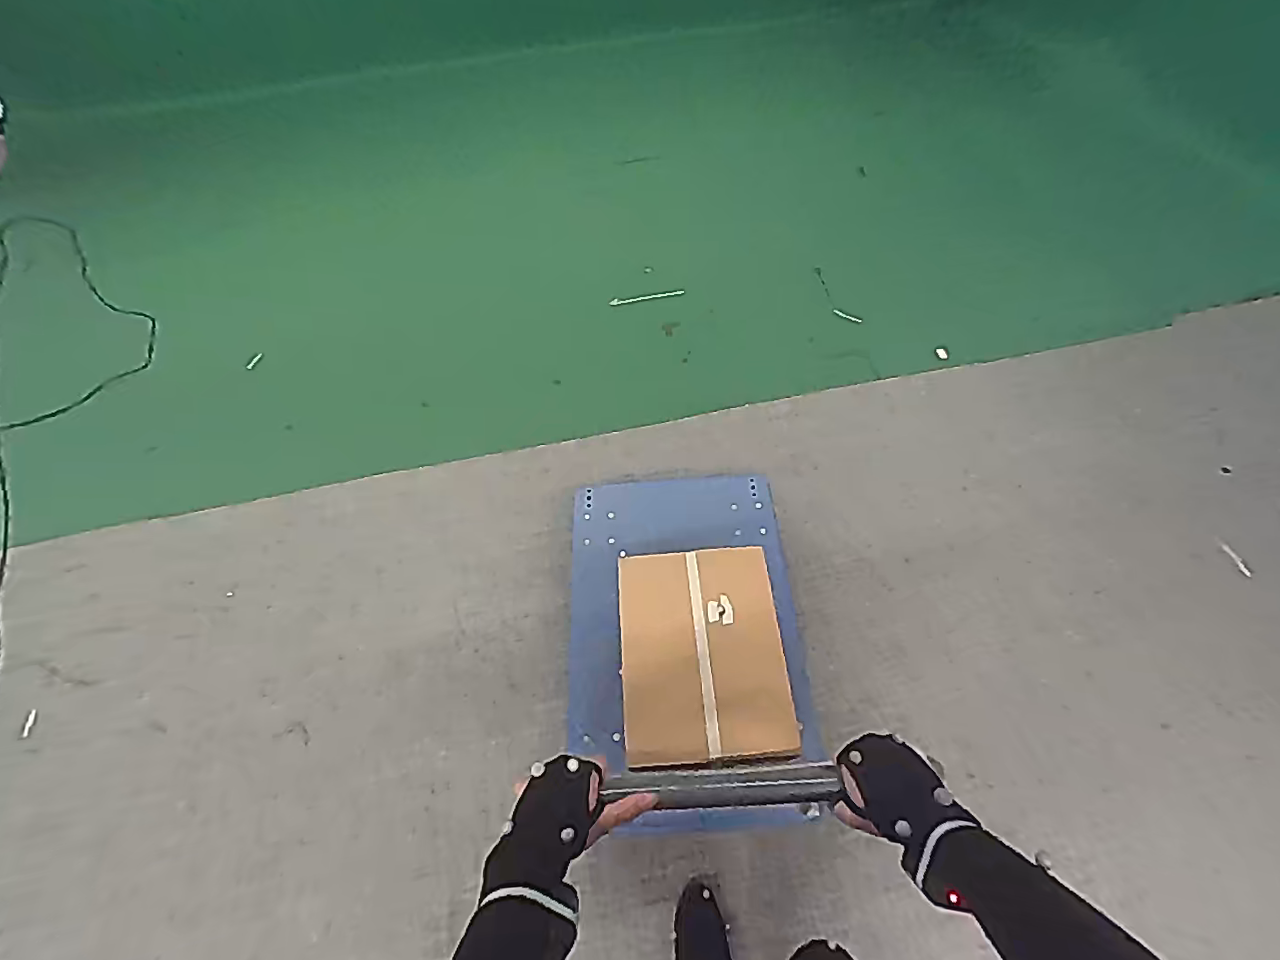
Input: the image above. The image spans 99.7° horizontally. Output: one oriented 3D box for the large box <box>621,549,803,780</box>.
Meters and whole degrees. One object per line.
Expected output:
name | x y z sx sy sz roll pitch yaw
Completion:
large box | 0.134 0.406 1.180 0.320 0.320 0.408 -4 57 1
